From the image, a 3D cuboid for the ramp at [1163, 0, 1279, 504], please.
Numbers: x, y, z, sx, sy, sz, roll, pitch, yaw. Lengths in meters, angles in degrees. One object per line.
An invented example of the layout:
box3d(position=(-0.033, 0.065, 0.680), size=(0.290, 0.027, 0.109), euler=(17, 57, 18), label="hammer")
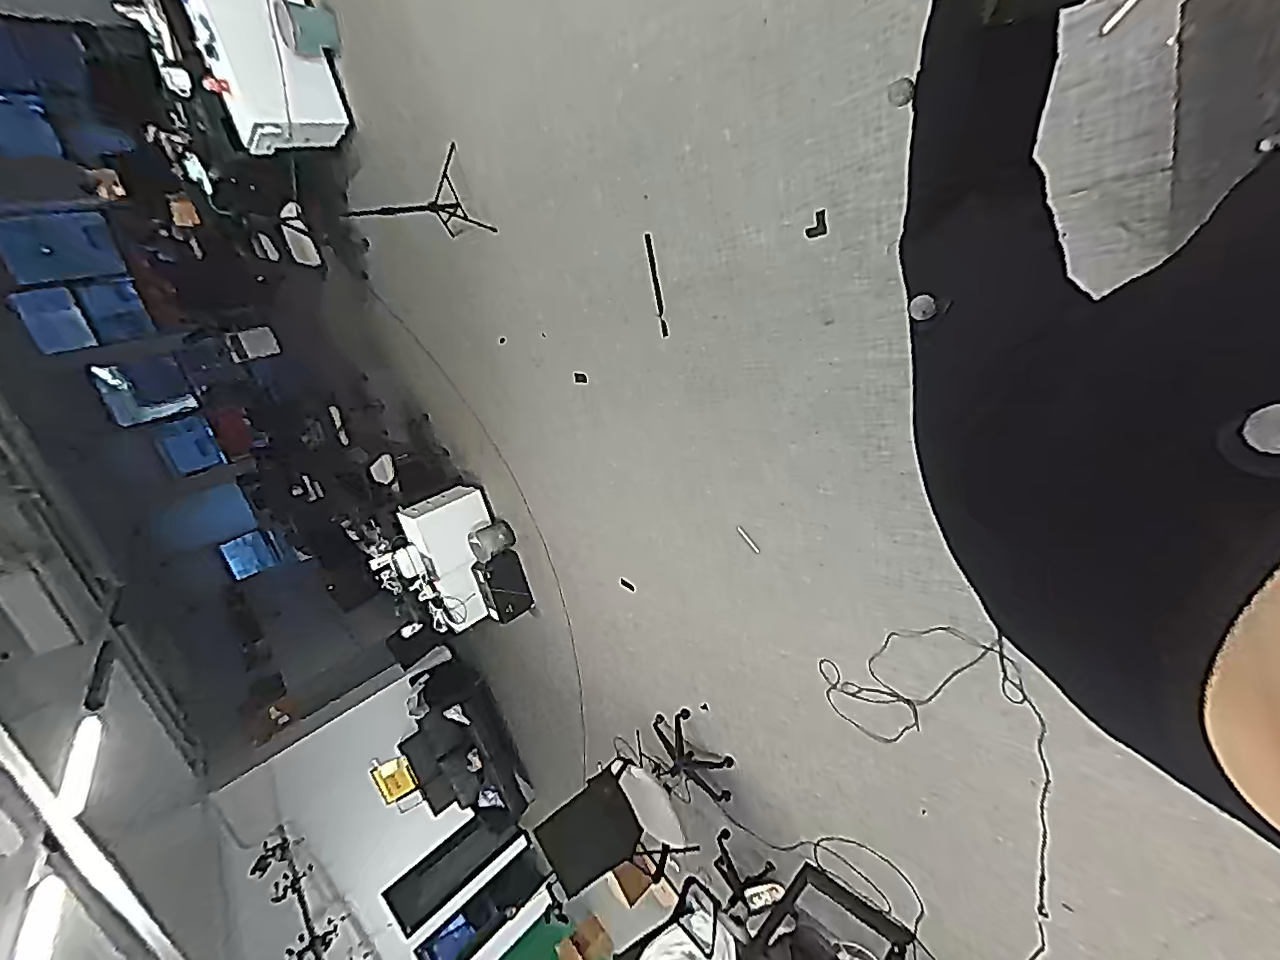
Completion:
box3d(position=(1.229, -0.361, 0.901), size=(0.509, 0.206, 0.991), euler=(5, 117, 49), label="ramp")
